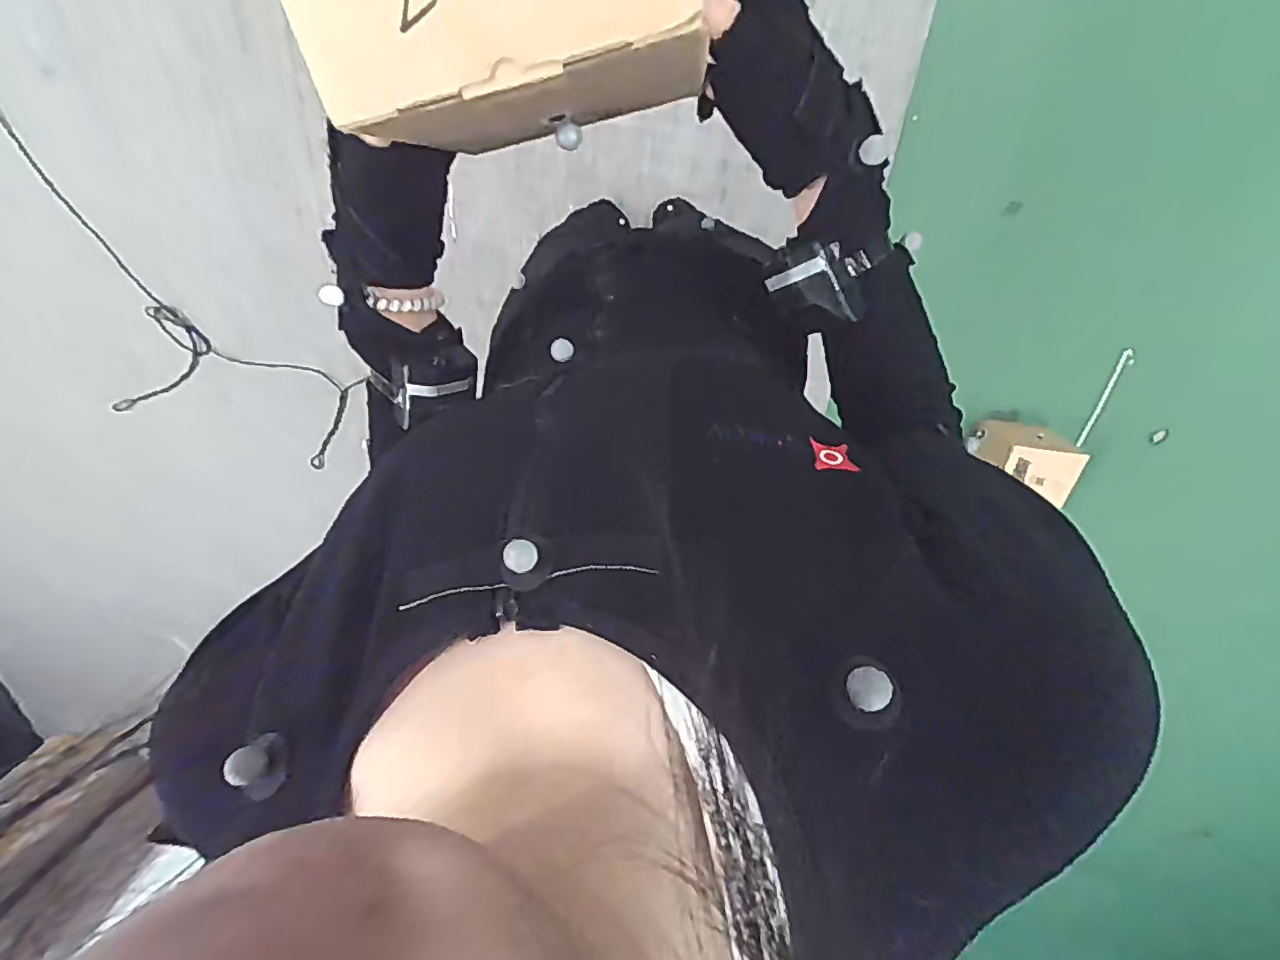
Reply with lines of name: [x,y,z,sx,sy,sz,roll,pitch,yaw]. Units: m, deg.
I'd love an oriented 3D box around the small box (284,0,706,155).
small box: [-0.064,-0.276,0.258,0.168,0.176,0.179,-8,117,10]

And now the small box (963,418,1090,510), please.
small box: [0.958,-0.046,1.363,0.179,0.176,0.168,8,119,2]
